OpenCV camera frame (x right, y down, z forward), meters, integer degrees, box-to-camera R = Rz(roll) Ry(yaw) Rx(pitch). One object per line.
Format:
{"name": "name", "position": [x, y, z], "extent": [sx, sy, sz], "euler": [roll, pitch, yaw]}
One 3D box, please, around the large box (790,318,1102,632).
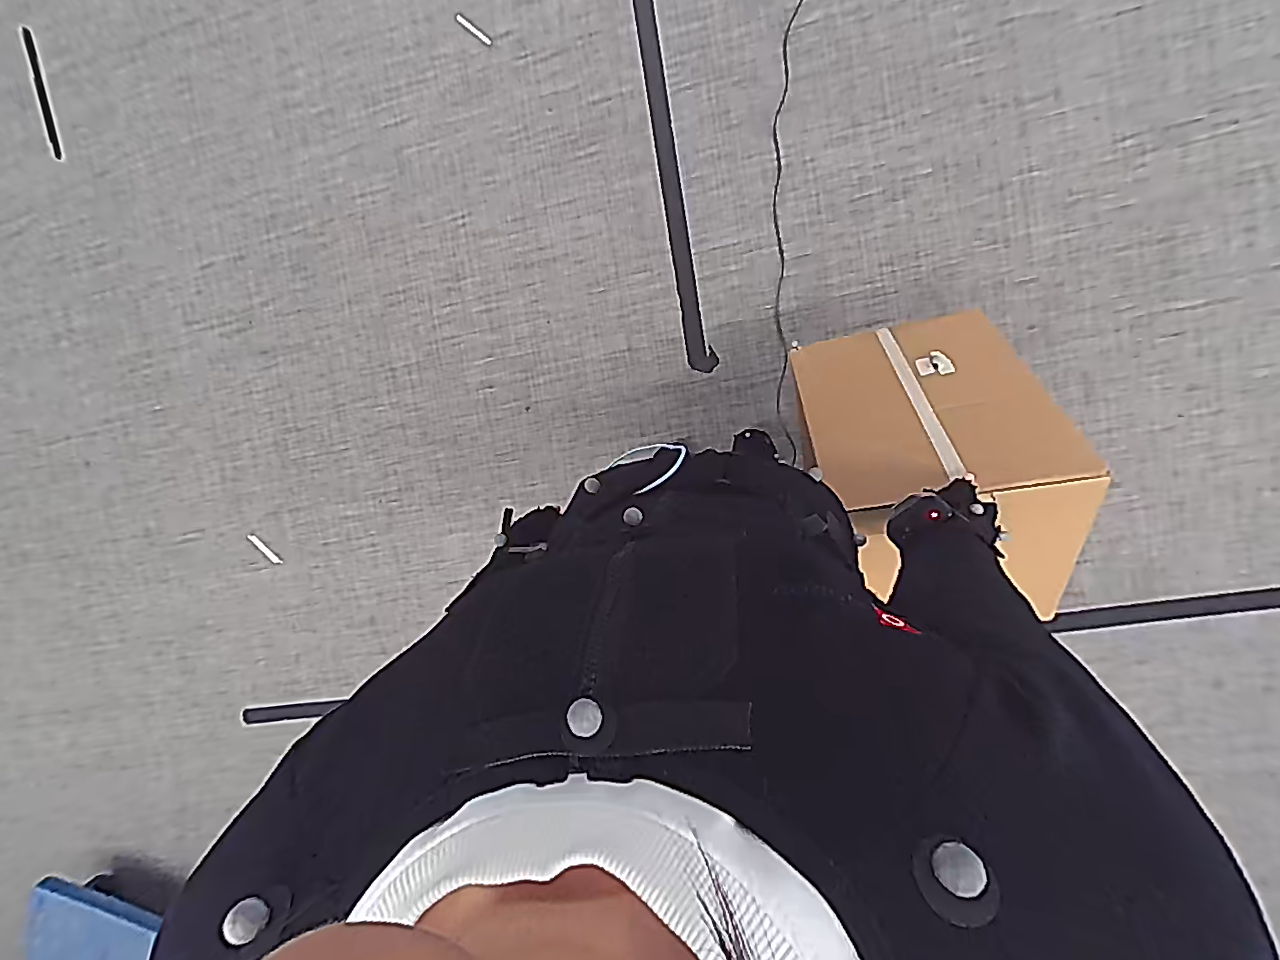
{"name": "large box", "position": [0.455, -0.010, 0.910], "extent": [0.320, 0.408, 0.320], "euler": [-9, 132, 13]}
